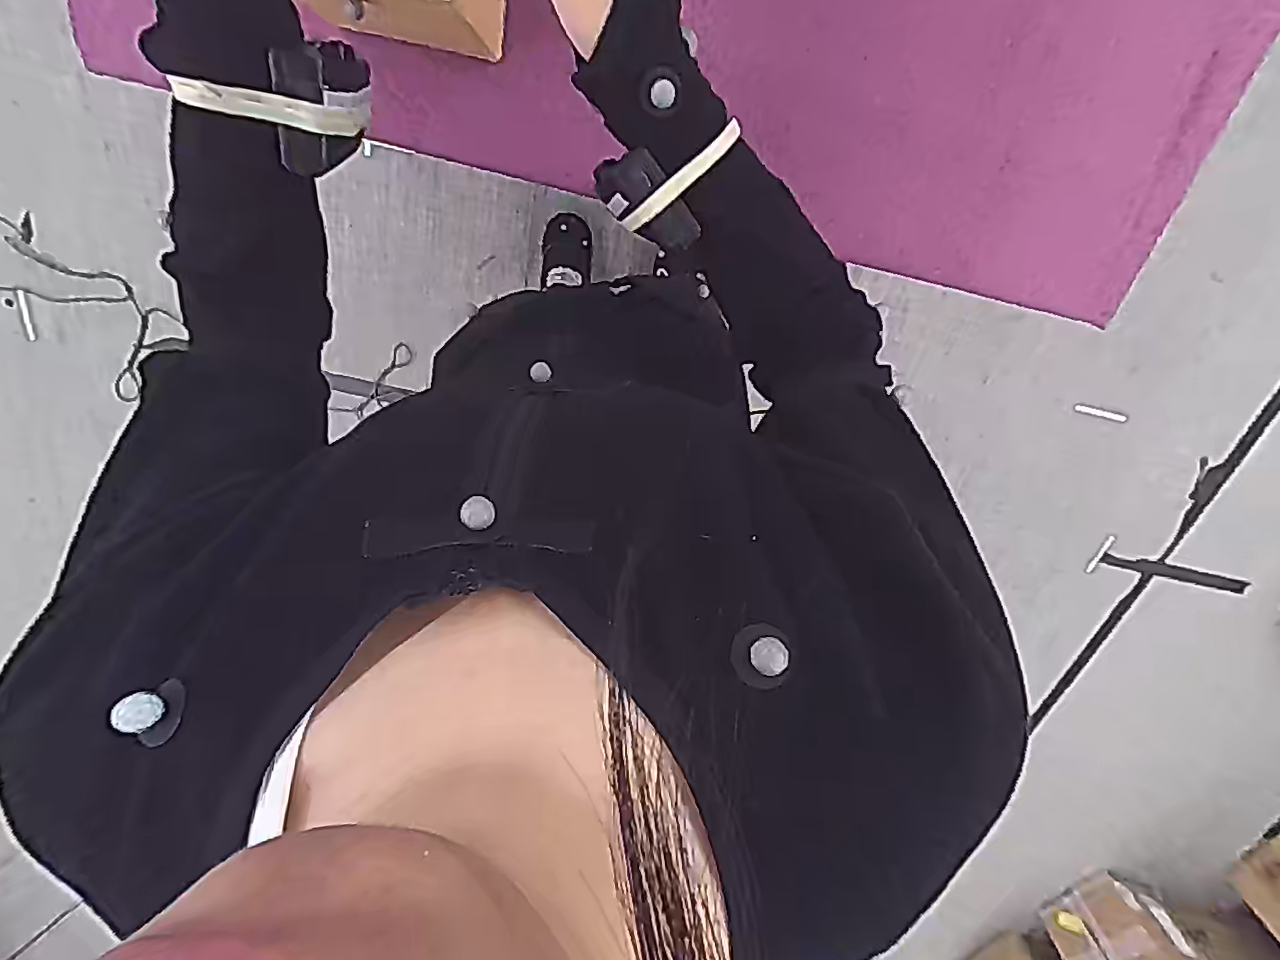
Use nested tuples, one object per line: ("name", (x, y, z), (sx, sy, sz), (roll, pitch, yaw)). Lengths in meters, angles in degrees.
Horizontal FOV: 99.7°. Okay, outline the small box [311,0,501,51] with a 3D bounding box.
("small box", (-0.214, -0.495, 0.455), (0.179, 0.176, 0.168), (10, 115, -4))
